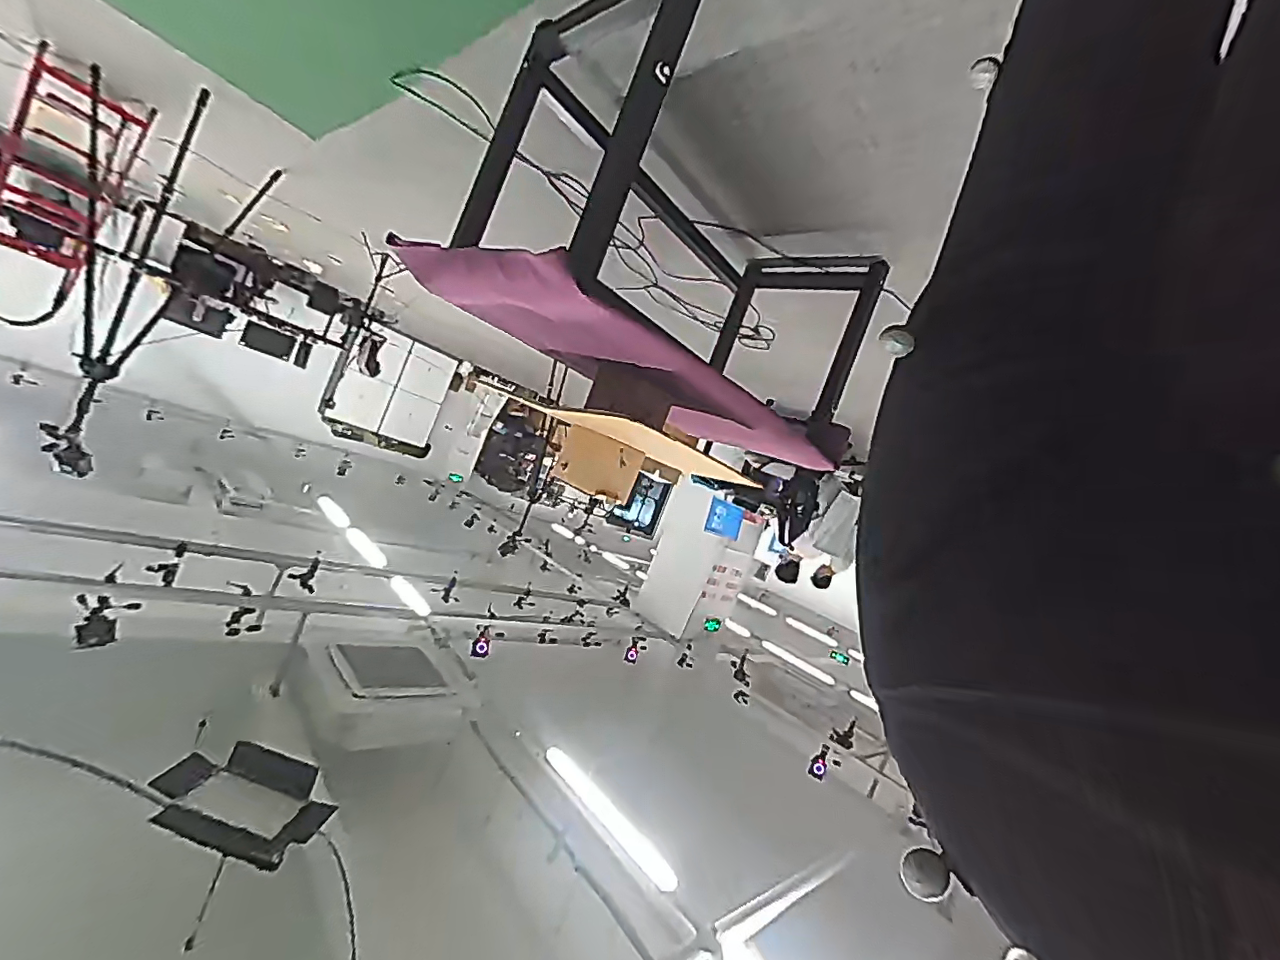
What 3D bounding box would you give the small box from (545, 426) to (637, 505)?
[{"bbox_3d":[-0.138,-0.048,1.575,0.179,0.176,0.168,22,-179,40],"label":"small box"}]
